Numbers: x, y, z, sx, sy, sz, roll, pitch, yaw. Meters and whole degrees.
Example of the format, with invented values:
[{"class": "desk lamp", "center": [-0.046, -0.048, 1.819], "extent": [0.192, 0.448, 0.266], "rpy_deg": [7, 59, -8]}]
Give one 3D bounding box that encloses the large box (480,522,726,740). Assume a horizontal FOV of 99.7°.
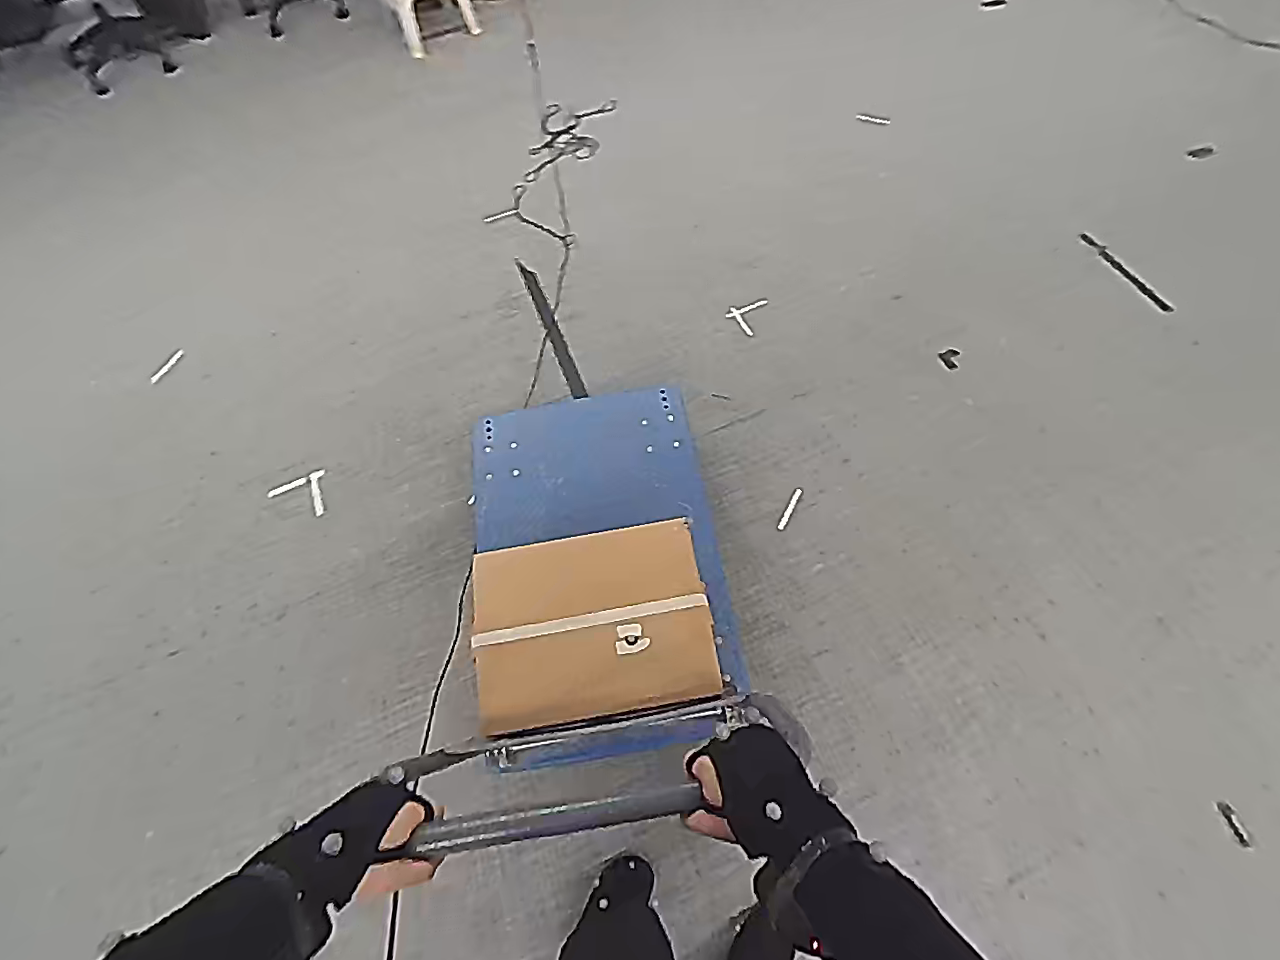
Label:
[{"class": "large box", "center": [-0.072, 0.315, 1.088], "extent": [0.408, 0.320, 0.320], "rpy_deg": [-11, 66, -2]}]
